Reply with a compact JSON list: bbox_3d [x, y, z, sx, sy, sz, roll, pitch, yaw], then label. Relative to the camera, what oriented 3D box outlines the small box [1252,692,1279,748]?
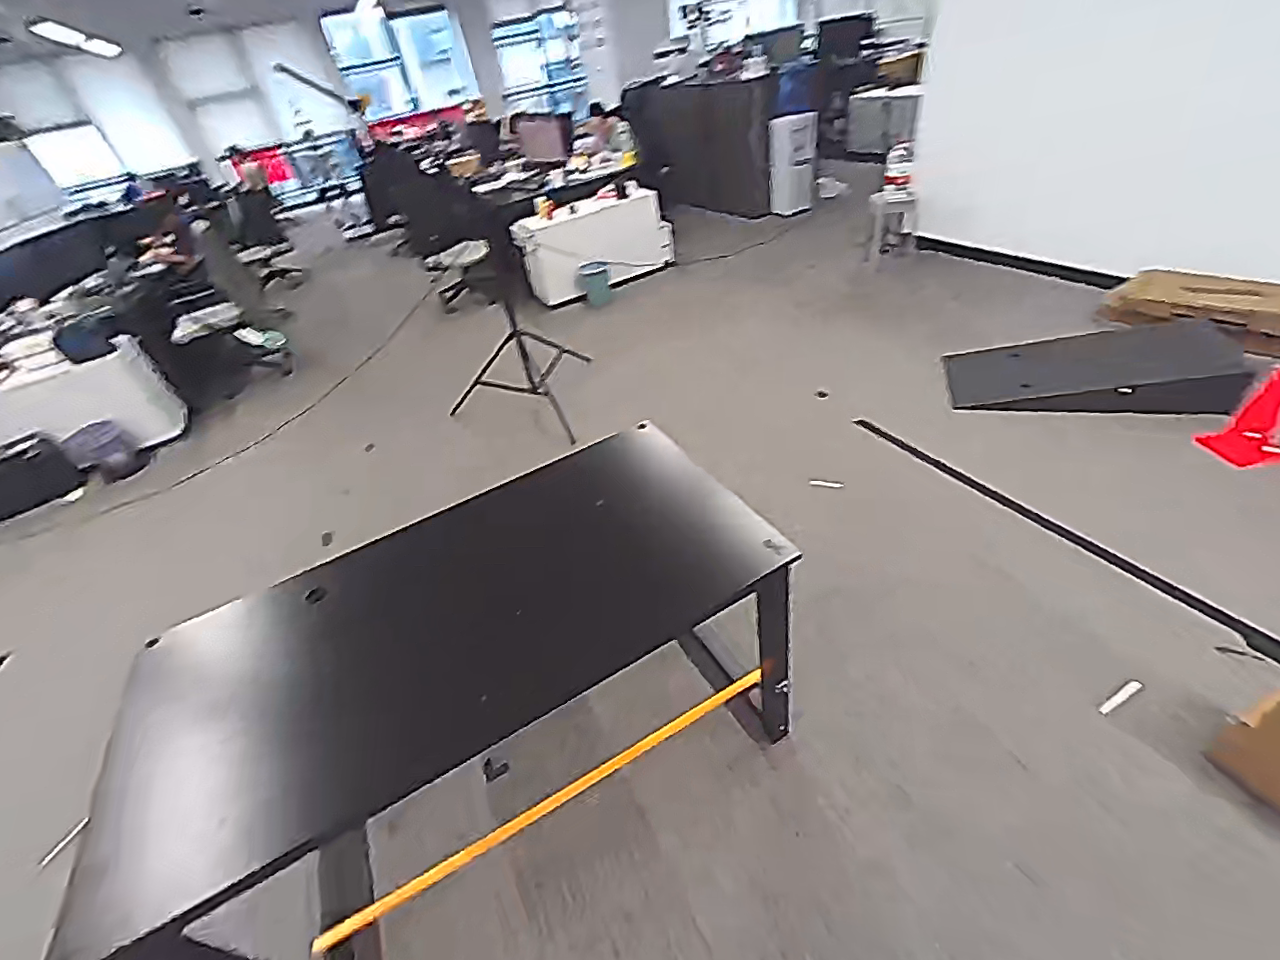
[{"bbox_3d":[1.398,0.472,1.073,0.179,0.176,0.168,-26,40,-14],"label":"small box"}]

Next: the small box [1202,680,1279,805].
[{"bbox_3d":[1.420,0.586,1.188,0.168,0.176,0.179,-24,40,-15],"label":"small box"}]
